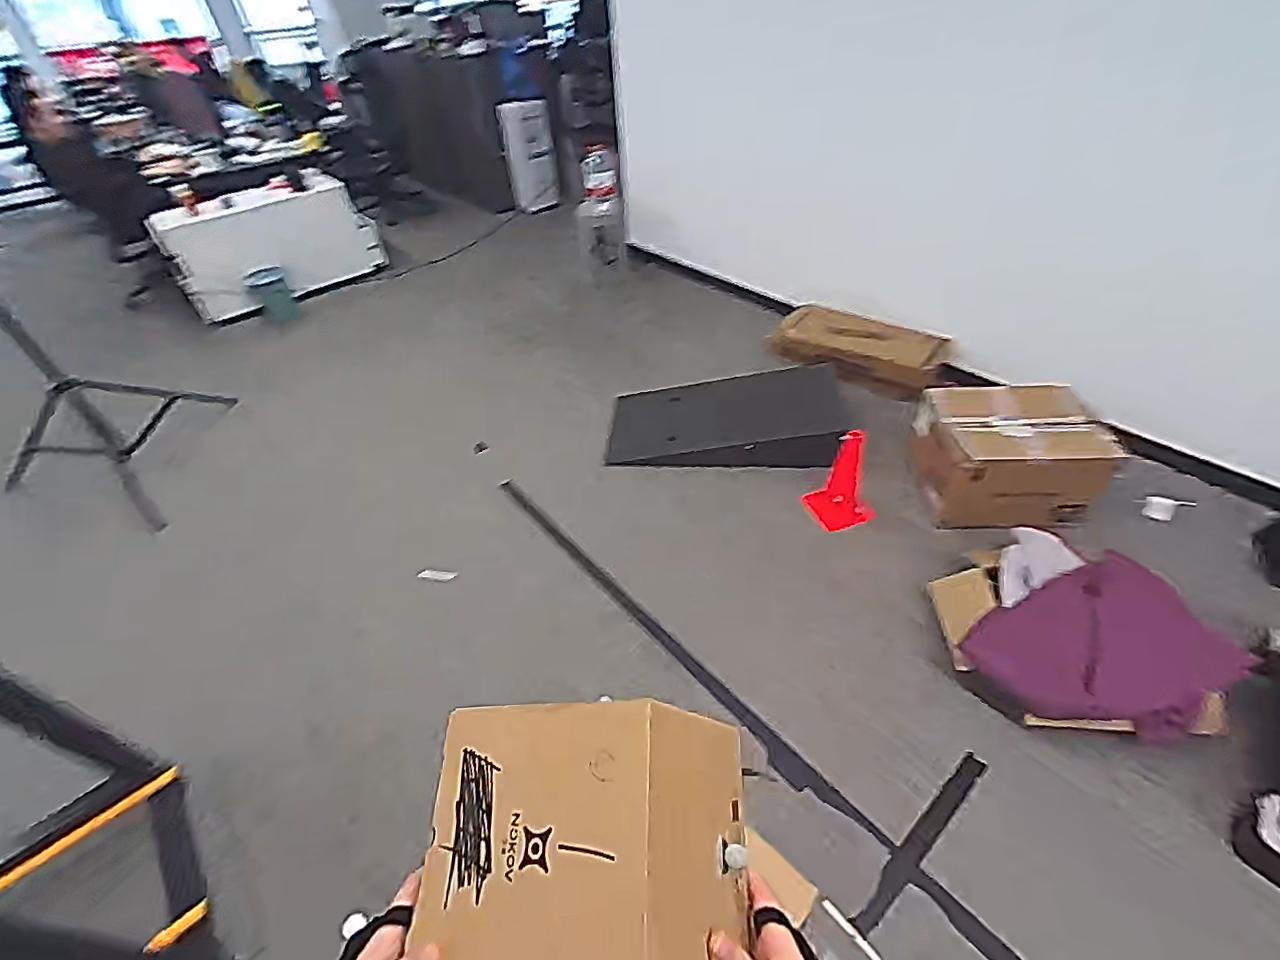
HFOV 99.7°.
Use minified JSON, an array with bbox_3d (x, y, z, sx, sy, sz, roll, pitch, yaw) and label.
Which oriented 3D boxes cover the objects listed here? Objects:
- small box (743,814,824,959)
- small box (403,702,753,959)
[{"bbox_3d":[0.163,0.682,0.860,0.168,0.176,0.179,30,53,33],"label":"small box"},{"bbox_3d":[-0.033,0.265,0.394,0.179,0.176,0.168,-15,56,24],"label":"small box"}]
